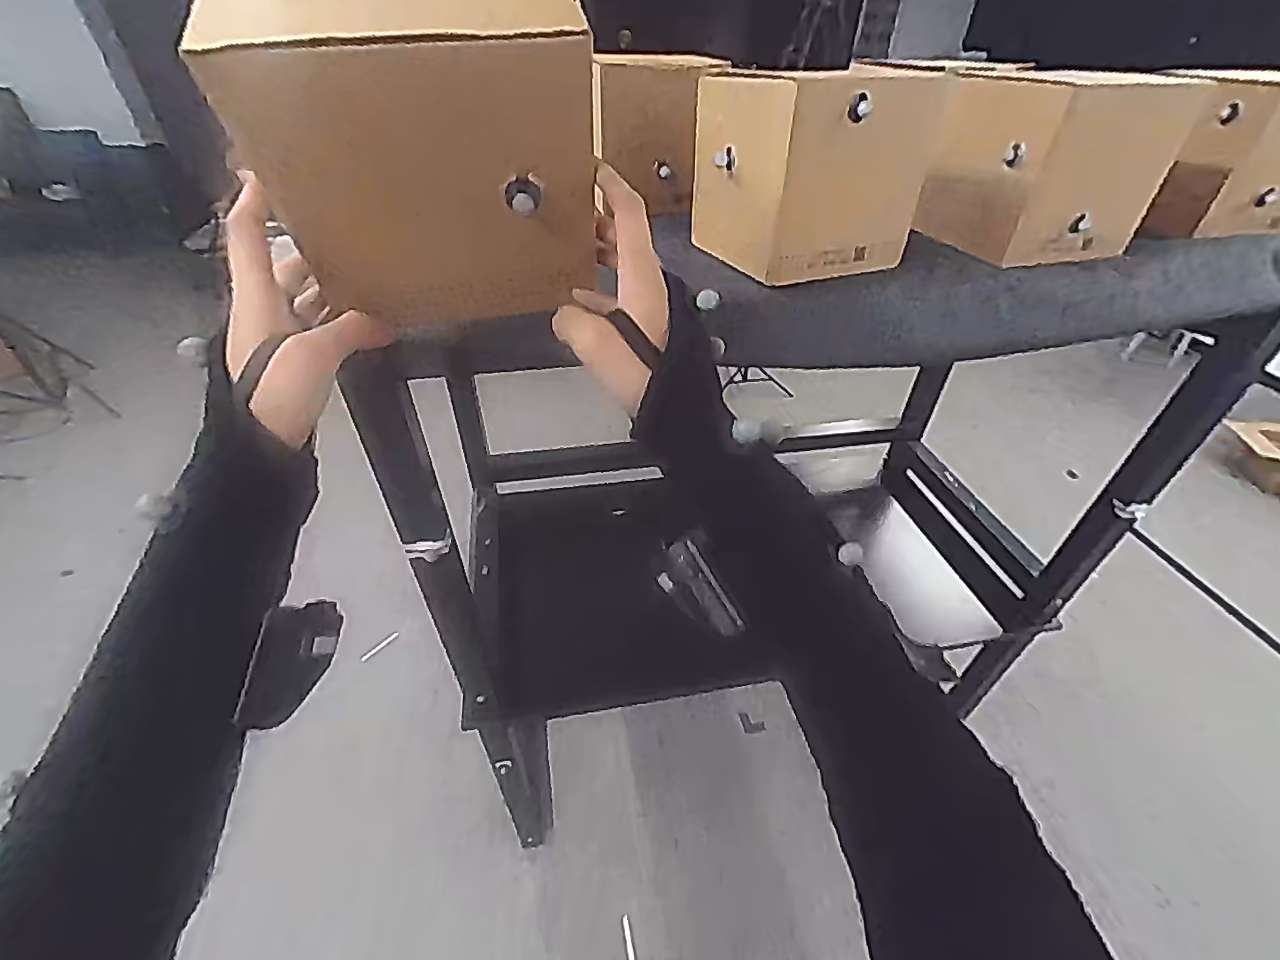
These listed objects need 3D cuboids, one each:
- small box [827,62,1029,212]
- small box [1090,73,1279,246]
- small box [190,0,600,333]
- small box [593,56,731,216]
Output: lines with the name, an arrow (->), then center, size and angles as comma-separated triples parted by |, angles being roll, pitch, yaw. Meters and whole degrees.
small box -> 0.402, -0.500, 0.792 | 0.168, 0.176, 0.179 | -8, 40, -11
small box -> 0.755, -0.418, 0.703 | 0.168, 0.176, 0.179 | -4, 41, -5
small box -> -0.126, -0.217, 0.344 | 0.179, 0.176, 0.168 | -10, 62, -9
small box -> 0.011, -0.483, 0.759 | 0.168, 0.176, 0.179 | -9, 42, -11
